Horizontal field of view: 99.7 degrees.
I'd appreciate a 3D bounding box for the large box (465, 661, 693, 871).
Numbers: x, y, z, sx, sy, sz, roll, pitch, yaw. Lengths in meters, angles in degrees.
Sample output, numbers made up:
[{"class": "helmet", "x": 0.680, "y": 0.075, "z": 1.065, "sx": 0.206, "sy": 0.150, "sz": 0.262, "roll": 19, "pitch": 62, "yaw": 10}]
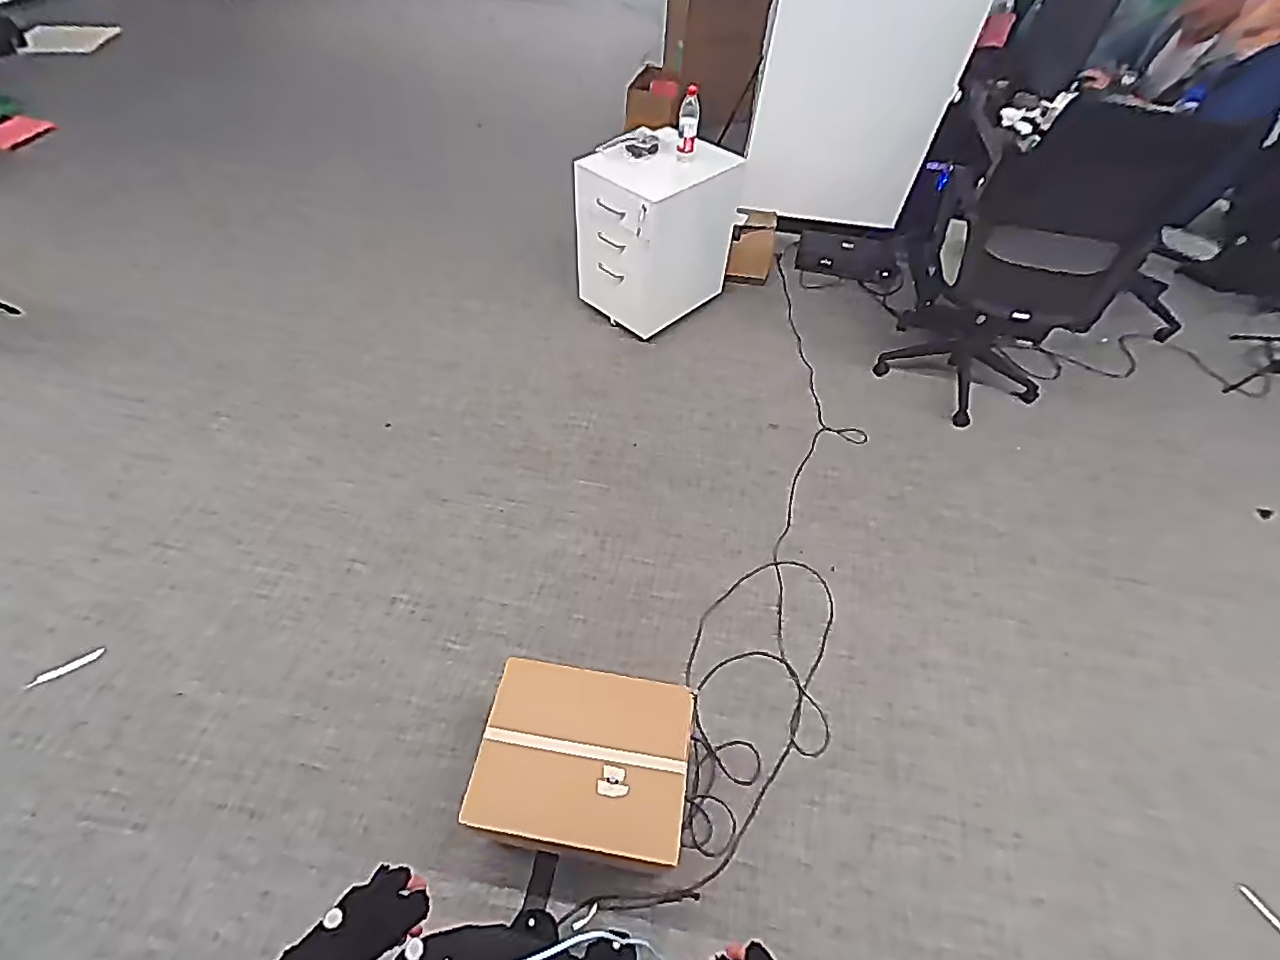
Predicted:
[{"class": "large box", "x": -0.113, "y": 0.627, "z": 1.181, "sx": 0.408, "sy": 0.320, "sz": 0.320, "roll": 9, "pitch": 52, "yaw": 4}]
